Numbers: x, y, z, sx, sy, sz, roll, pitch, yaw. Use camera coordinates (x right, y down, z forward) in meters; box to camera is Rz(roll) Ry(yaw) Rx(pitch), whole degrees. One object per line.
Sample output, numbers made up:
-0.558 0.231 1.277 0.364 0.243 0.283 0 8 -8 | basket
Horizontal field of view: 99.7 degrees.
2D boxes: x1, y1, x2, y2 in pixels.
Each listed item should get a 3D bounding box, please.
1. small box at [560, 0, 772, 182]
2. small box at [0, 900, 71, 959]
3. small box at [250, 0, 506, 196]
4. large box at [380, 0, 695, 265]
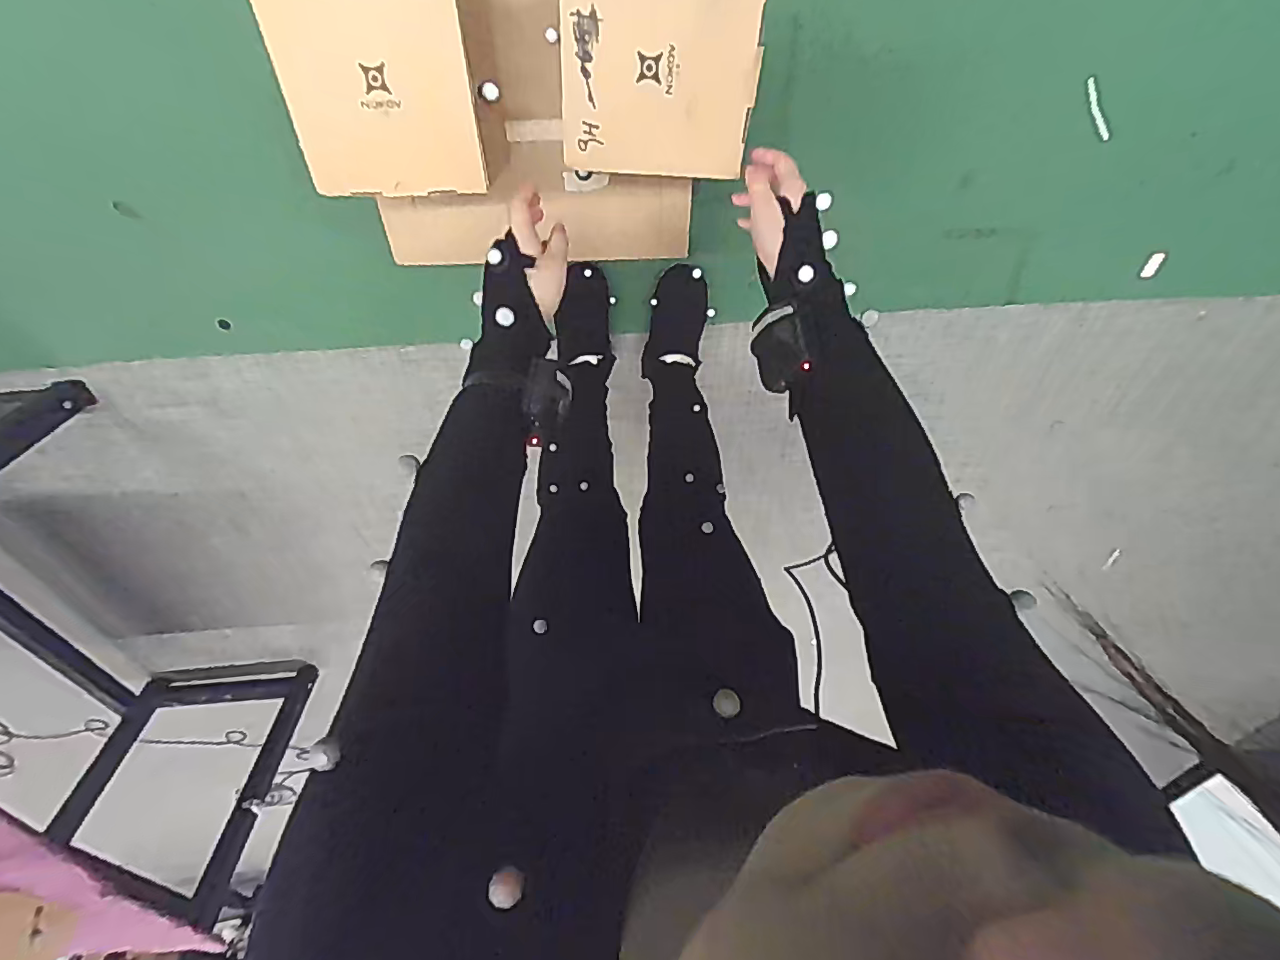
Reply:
0.014 -0.407 0.532 0.179 0.176 0.168 1 129 -4 | small box
-1.230 0.889 0.984 0.179 0.176 0.168 -4 130 1 | small box
-0.235 -0.394 0.531 0.168 0.176 0.179 -3 129 -2 | small box
-0.140 -0.514 0.753 0.408 0.320 0.320 -3 130 -2 | large box
